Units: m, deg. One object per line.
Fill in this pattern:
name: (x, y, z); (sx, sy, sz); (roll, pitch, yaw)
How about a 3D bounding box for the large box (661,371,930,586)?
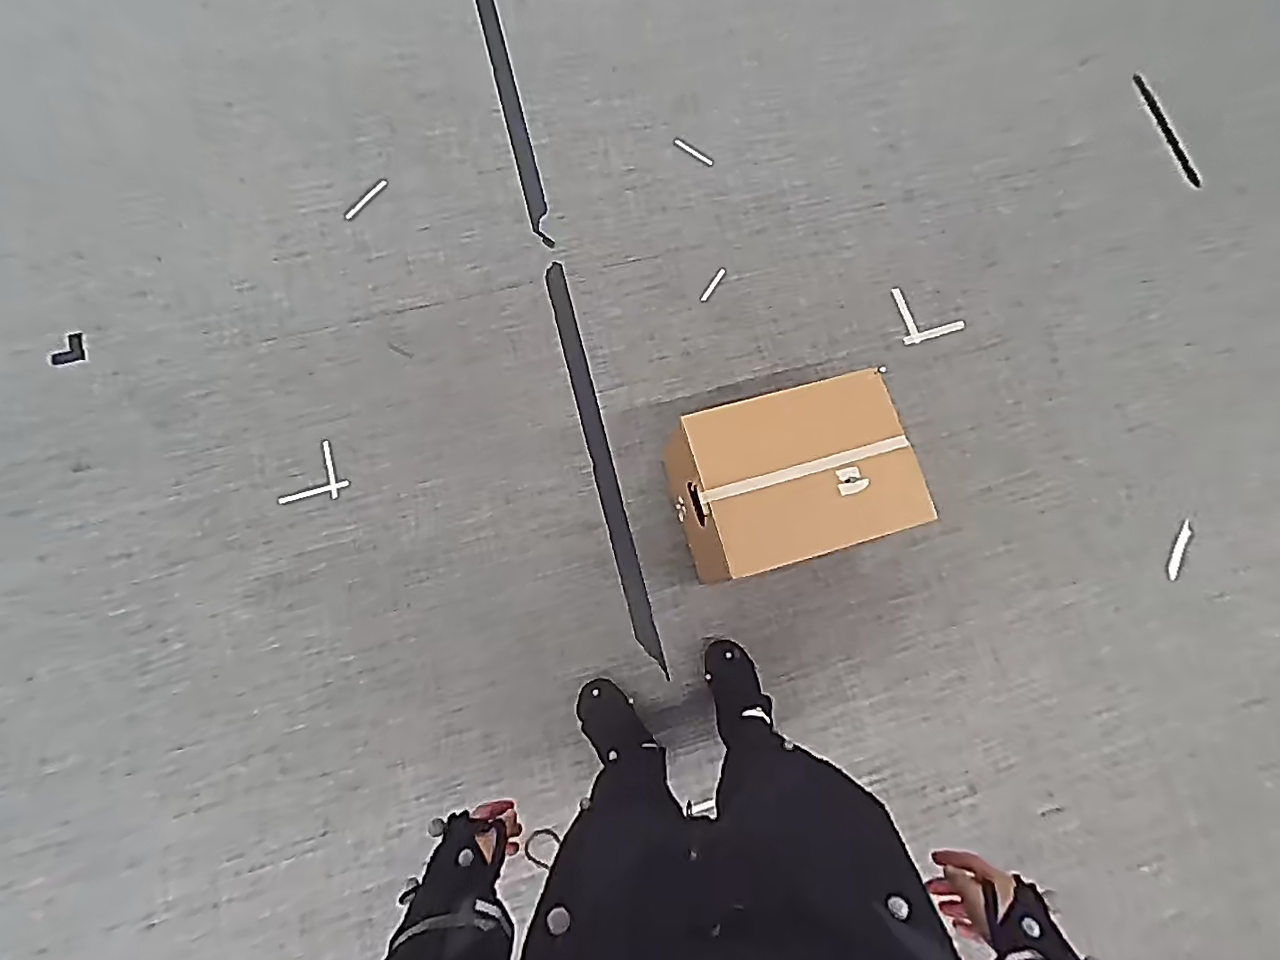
large box: (0.292, 0.015, 1.140); (0.408, 0.320, 0.320); (-15, 80, -8)
